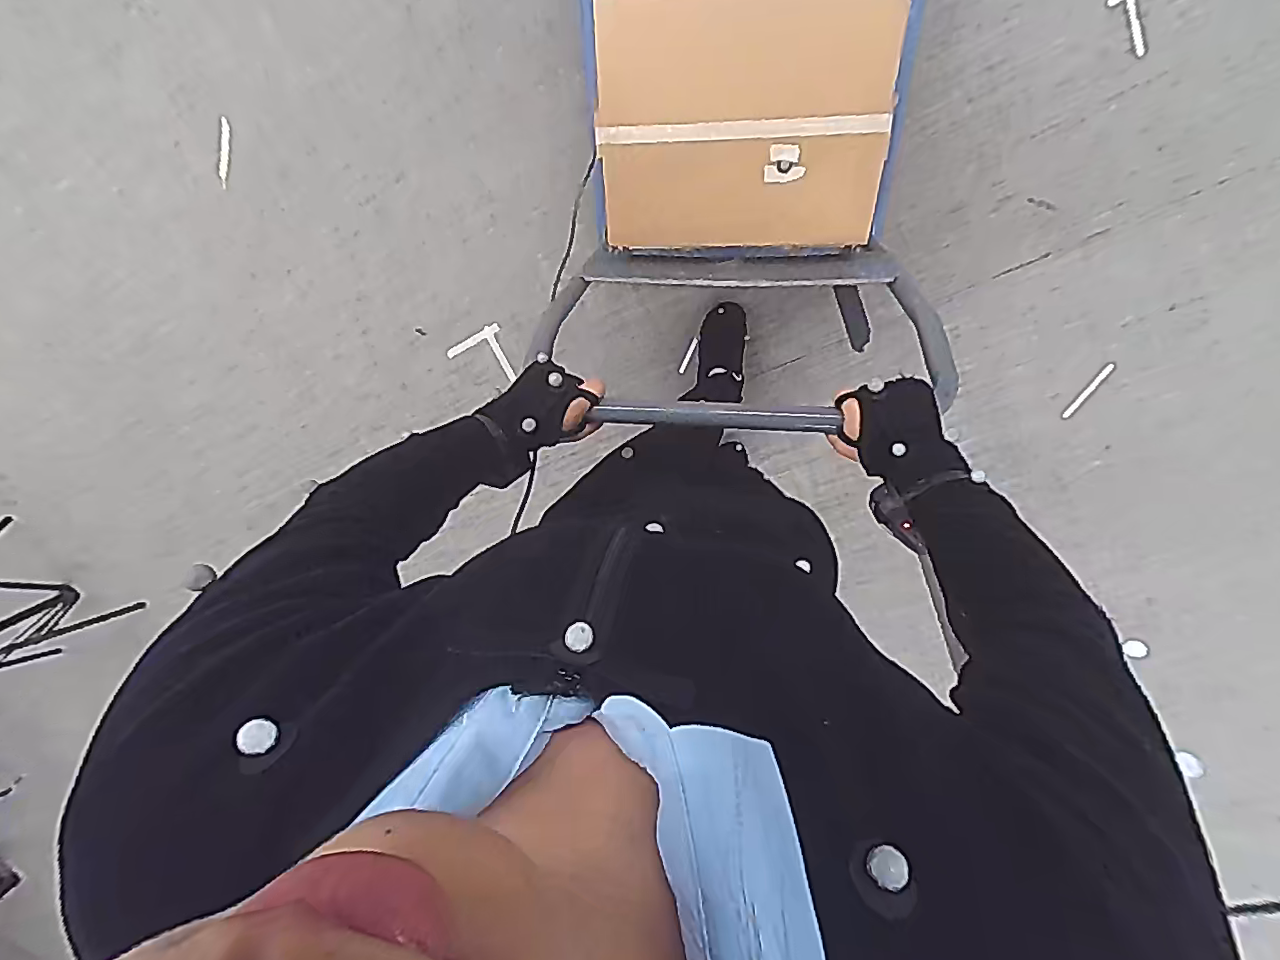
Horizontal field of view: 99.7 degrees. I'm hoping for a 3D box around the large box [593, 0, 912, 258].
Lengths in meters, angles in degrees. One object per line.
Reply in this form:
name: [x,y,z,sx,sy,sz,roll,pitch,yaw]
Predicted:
large box: [0.159,-0.560,0.881,0.408,0.320,0.320,3,125,8]
